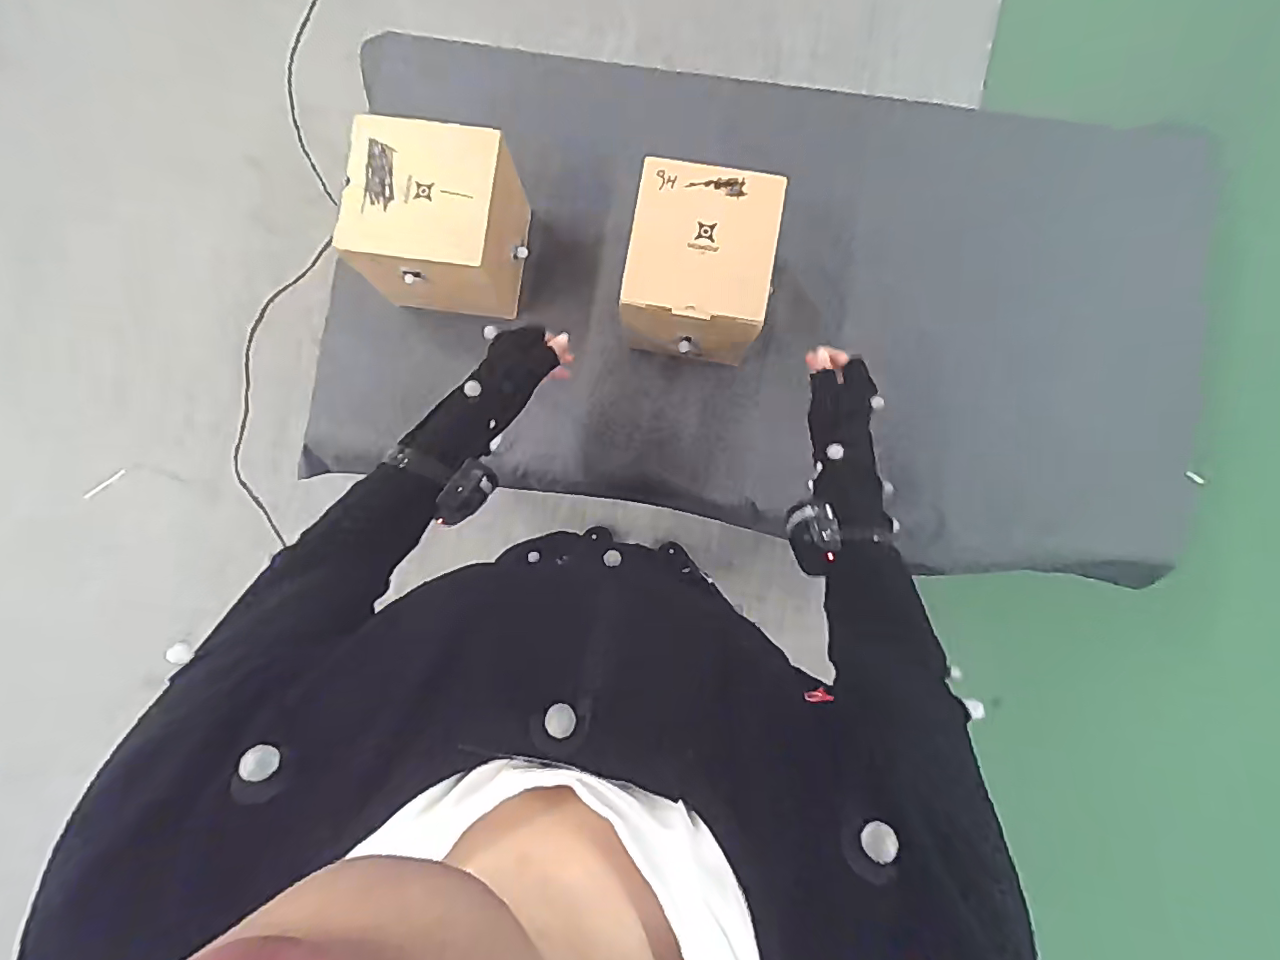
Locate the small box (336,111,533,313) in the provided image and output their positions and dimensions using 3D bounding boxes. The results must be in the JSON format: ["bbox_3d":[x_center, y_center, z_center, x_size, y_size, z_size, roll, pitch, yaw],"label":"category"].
[{"bbox_3d":[-0.250,-0.331,0.698,0.179,0.176,0.168,8,87,1],"label":"small box"}]

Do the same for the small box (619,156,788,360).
[{"bbox_3d":[0.075,-0.266,0.688,0.168,0.176,0.179,10,87,2],"label":"small box"}]
